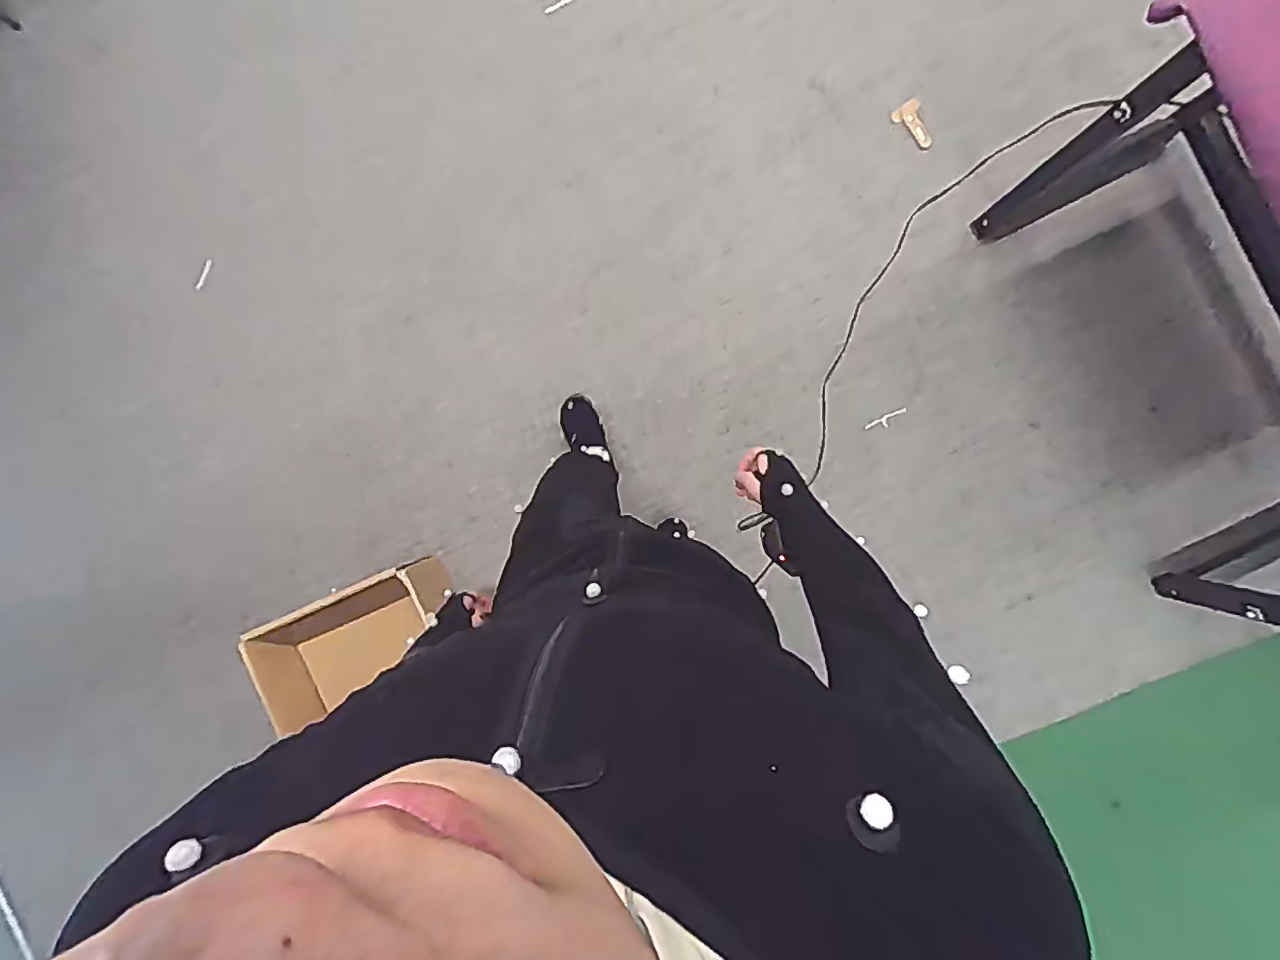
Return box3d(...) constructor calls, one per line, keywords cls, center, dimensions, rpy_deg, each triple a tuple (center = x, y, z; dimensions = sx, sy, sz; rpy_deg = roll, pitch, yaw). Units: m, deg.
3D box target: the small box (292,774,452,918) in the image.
box3d(cls="small box", center=(-0.481, 0.685, 0.995), dimensions=(0.179, 0.176, 0.168), rpy_deg=(-22, 90, 4))
